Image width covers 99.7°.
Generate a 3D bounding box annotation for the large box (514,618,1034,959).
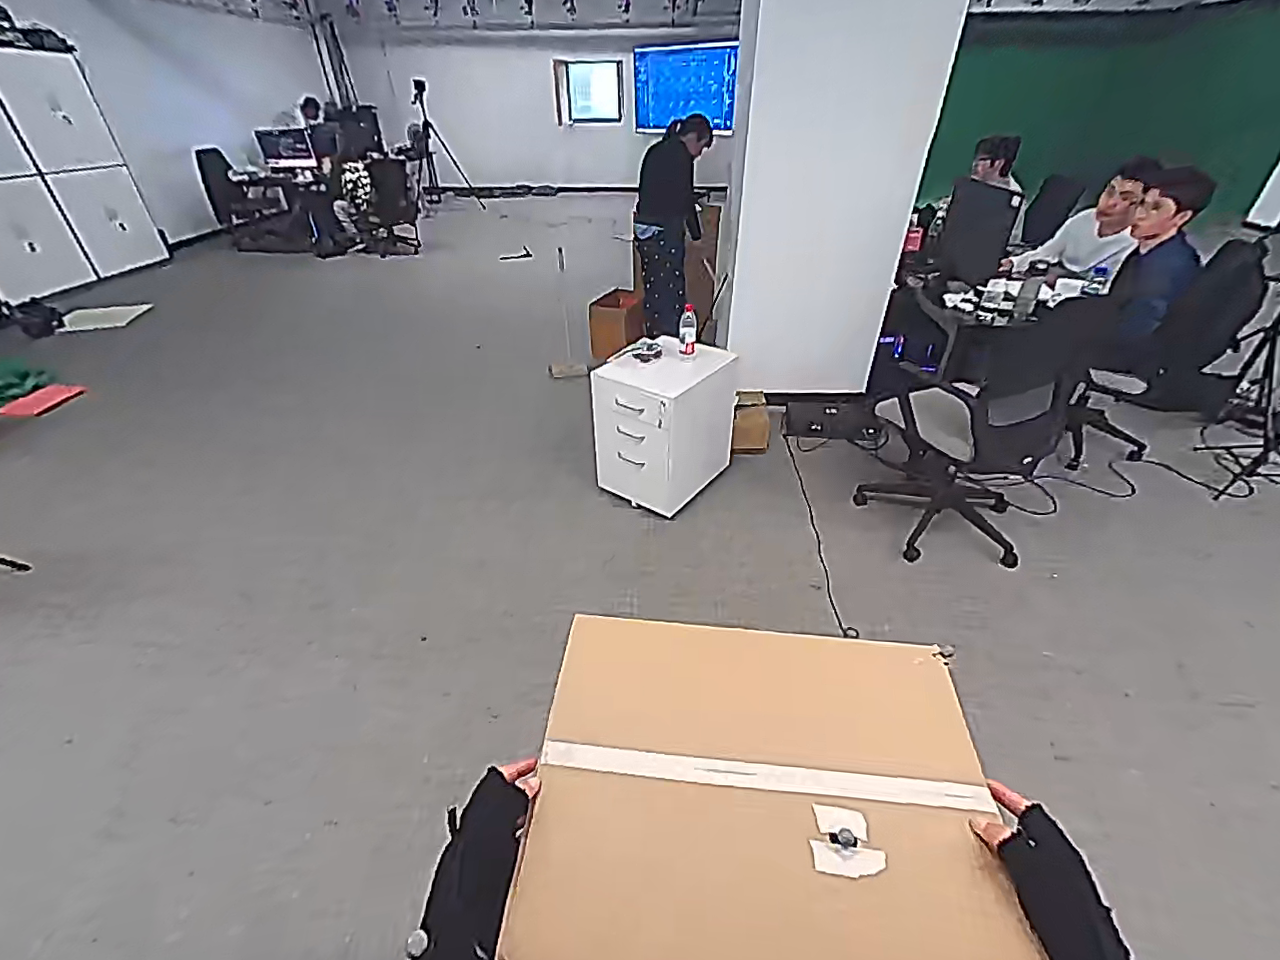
[{"bbox_3d":[0.112,0.386,0.609,0.408,0.320,0.320,4,42,5],"label":"large box"}]
